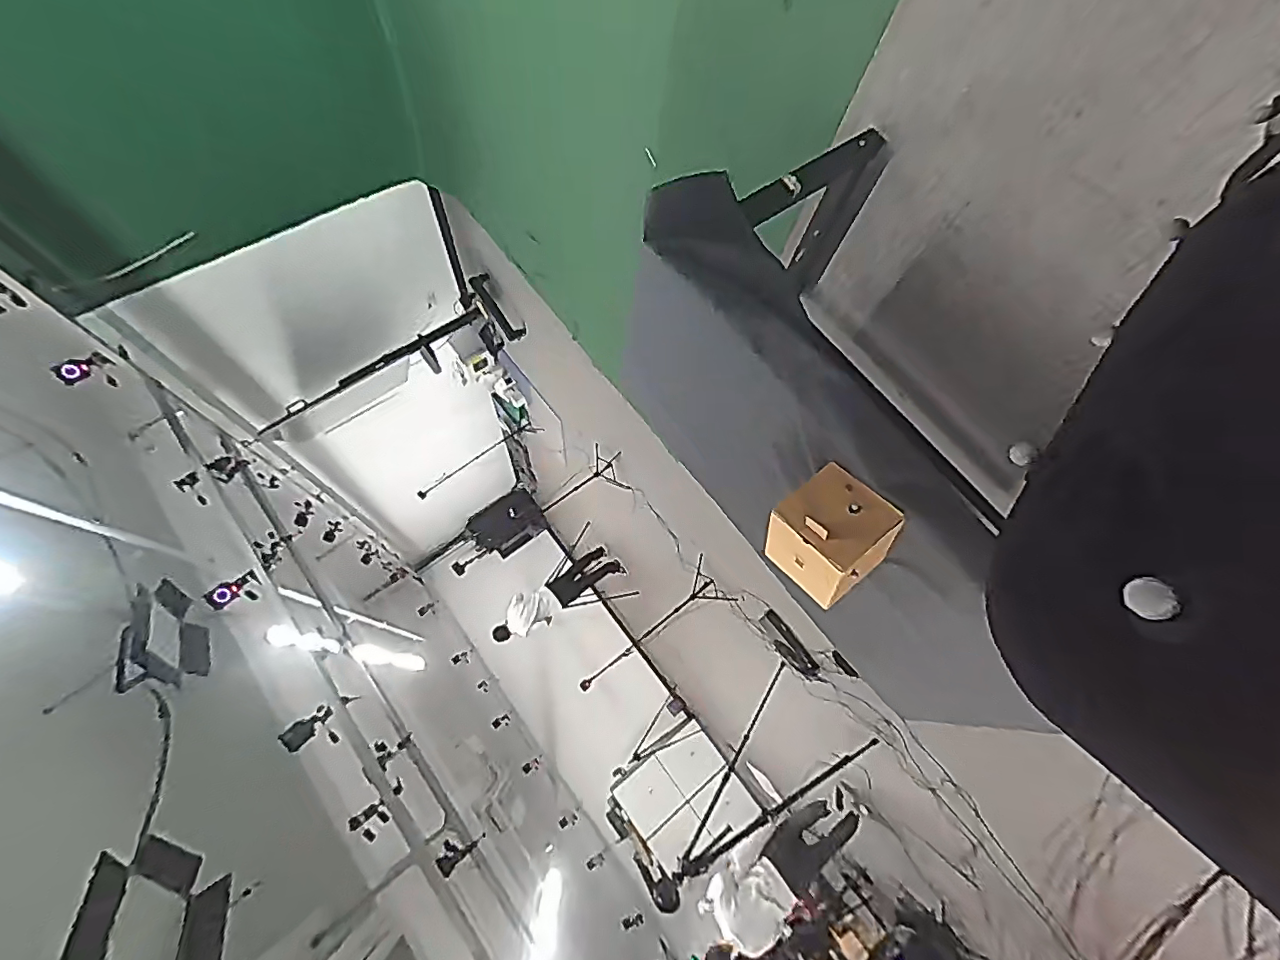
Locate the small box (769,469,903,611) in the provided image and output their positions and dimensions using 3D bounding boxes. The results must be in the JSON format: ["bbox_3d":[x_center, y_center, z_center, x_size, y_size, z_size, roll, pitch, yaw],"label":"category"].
[{"bbox_3d":[0.373,0.114,1.044,0.168,0.176,0.179,45,161,31],"label":"small box"}]
